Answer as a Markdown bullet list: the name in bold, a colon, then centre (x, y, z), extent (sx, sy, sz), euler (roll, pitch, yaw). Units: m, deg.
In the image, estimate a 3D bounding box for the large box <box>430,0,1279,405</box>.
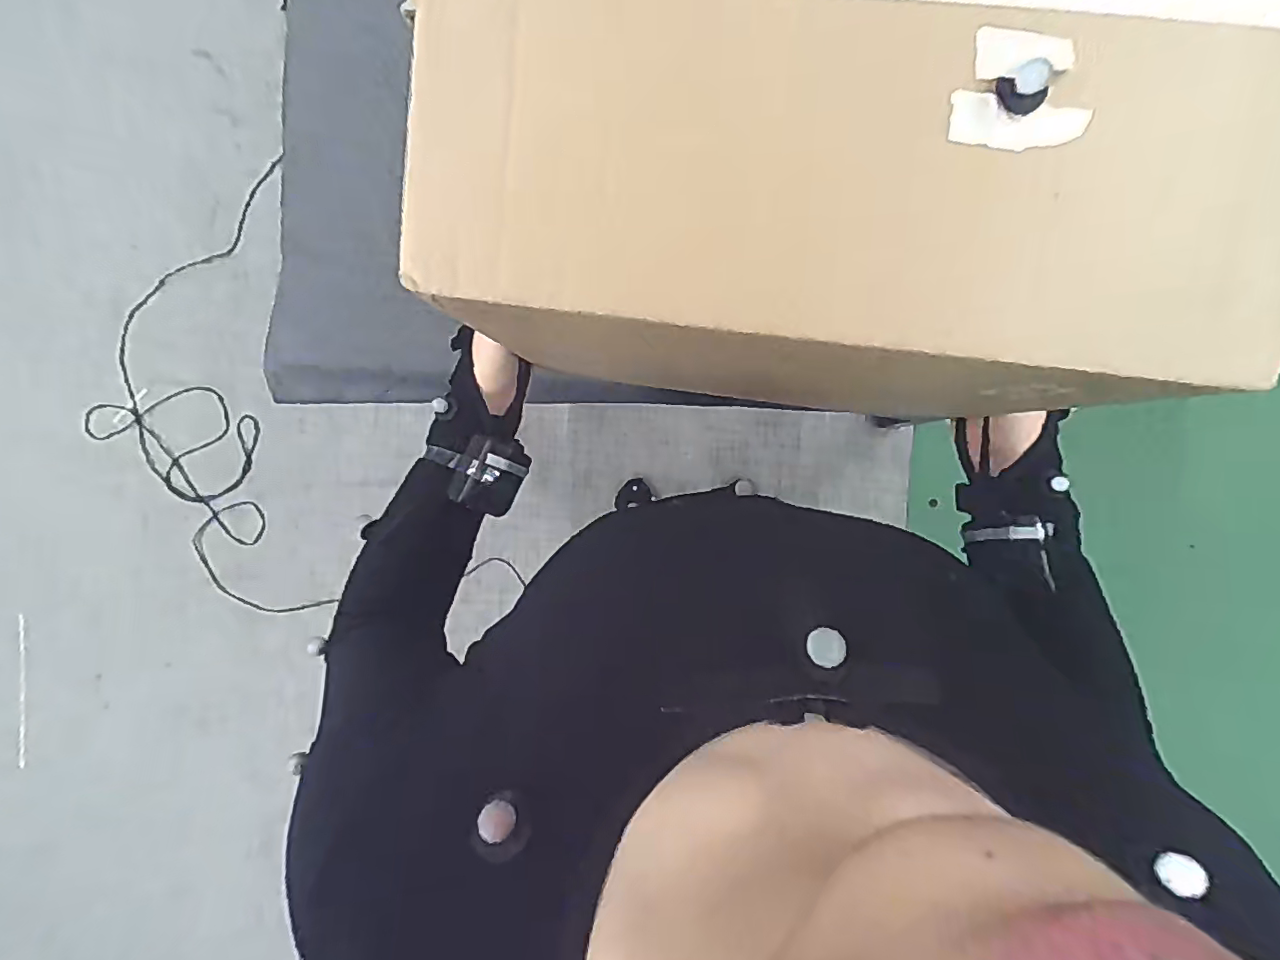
- **large box**: centre (0.108, -0.238, 0.406), extent (0.408, 0.320, 0.320), euler (7, 95, 2)
